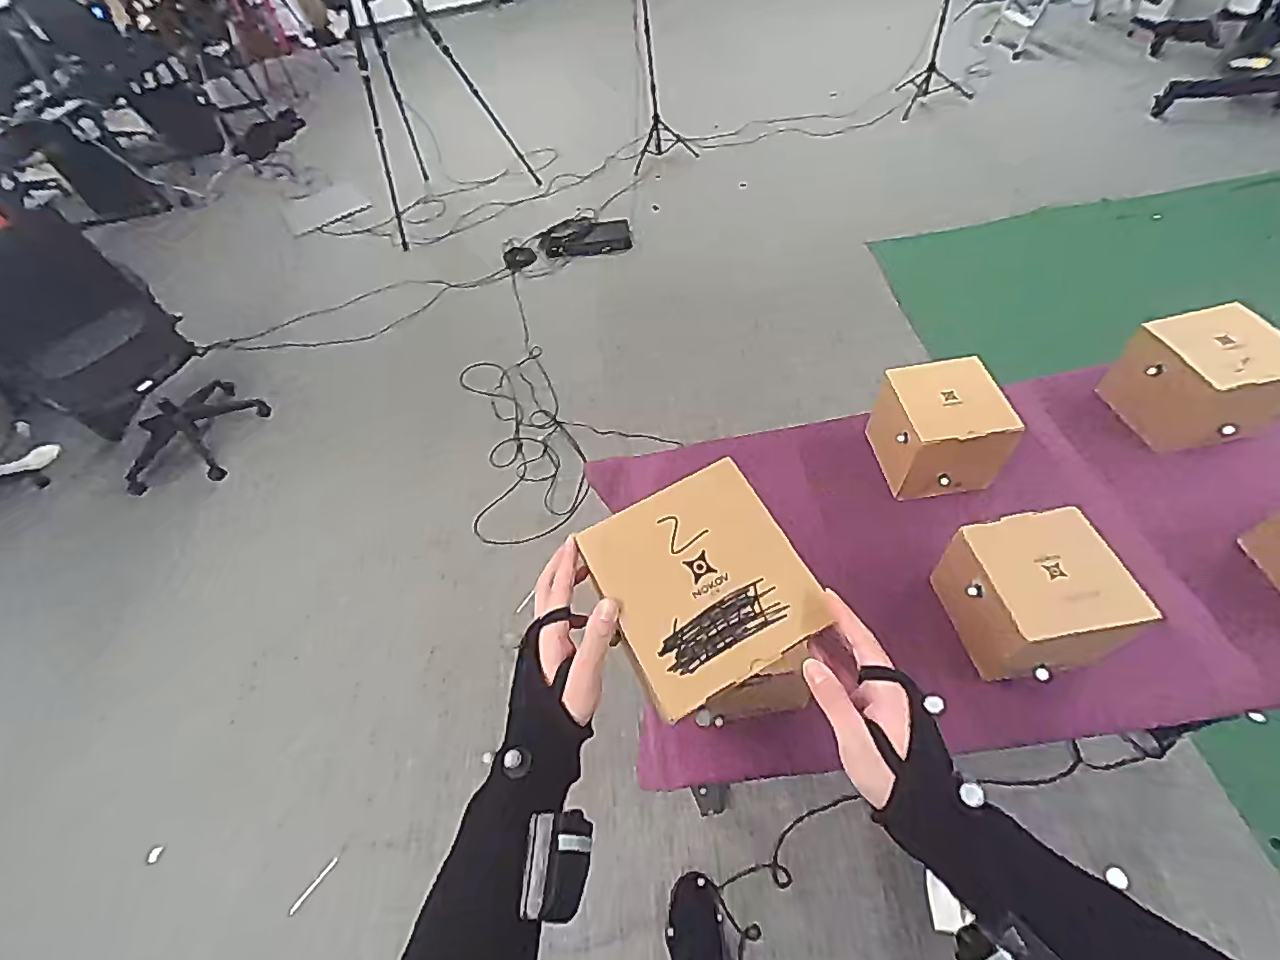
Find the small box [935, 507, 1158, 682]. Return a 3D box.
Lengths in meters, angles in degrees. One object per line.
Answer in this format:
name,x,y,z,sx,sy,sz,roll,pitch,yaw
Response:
small box,0.555,0.167,0.775,0.168,0.176,0.179,-11,52,4

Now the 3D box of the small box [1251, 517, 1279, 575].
small box,1.016,0.099,0.726,0.168,0.176,0.179,-11,53,5

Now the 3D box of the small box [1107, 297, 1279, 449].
small box,0.979,-0.182,0.940,0.168,0.176,0.179,-13,53,5

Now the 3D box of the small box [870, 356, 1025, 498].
small box,0.533,-0.092,0.971,0.168,0.176,0.179,-9,55,4

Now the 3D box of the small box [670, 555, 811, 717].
small box,0.145,0.239,0.803,0.168,0.176,0.179,-11,51,3
